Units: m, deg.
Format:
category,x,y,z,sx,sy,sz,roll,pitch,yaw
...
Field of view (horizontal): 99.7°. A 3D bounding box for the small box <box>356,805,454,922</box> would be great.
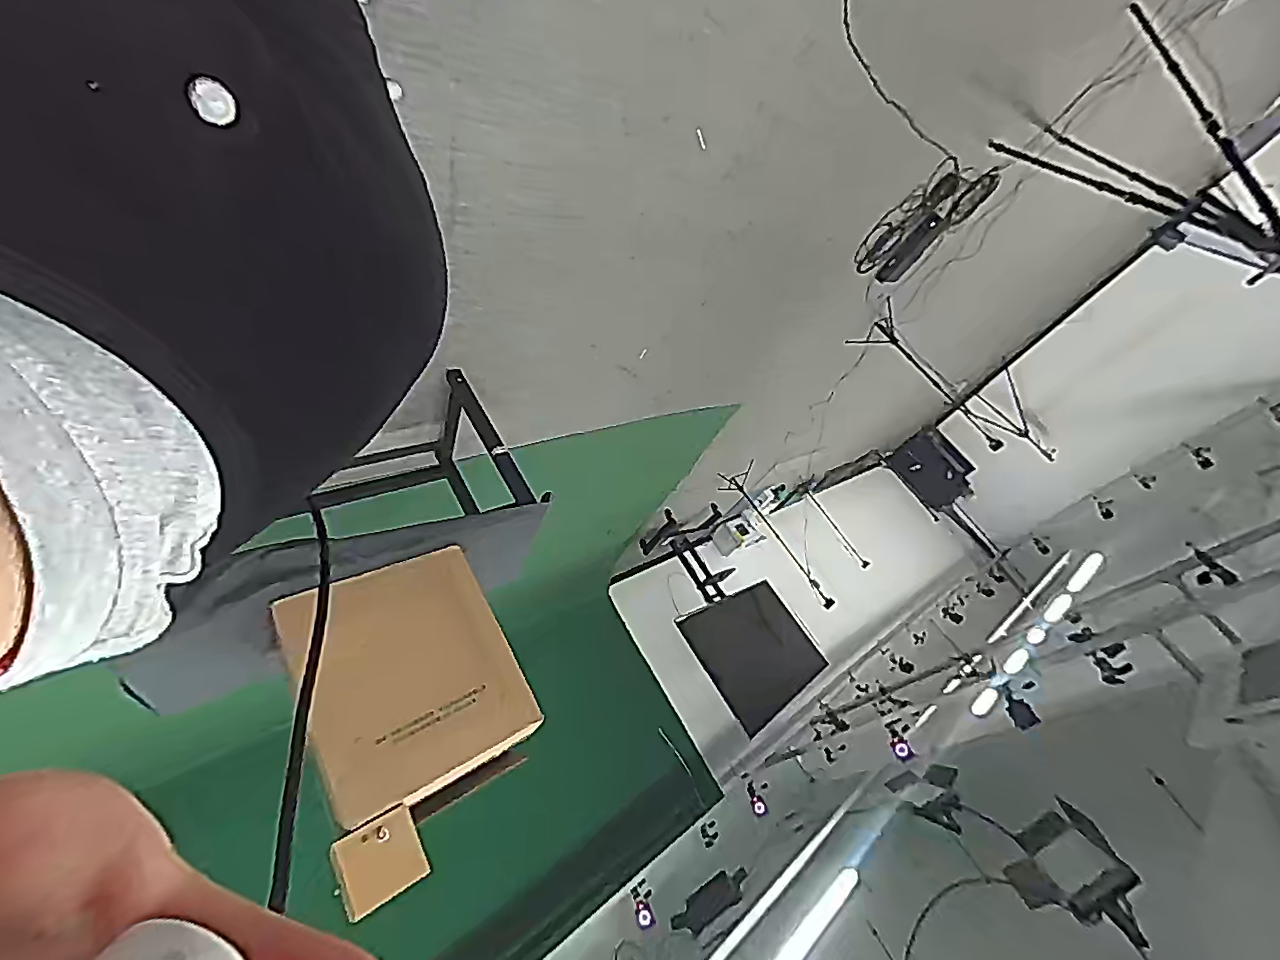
category,x,y,z,sx,sy,sz,roll,pitch,yaw
small box,-0.577,0.931,1.319,0.168,0.176,0.179,-19,153,-39
